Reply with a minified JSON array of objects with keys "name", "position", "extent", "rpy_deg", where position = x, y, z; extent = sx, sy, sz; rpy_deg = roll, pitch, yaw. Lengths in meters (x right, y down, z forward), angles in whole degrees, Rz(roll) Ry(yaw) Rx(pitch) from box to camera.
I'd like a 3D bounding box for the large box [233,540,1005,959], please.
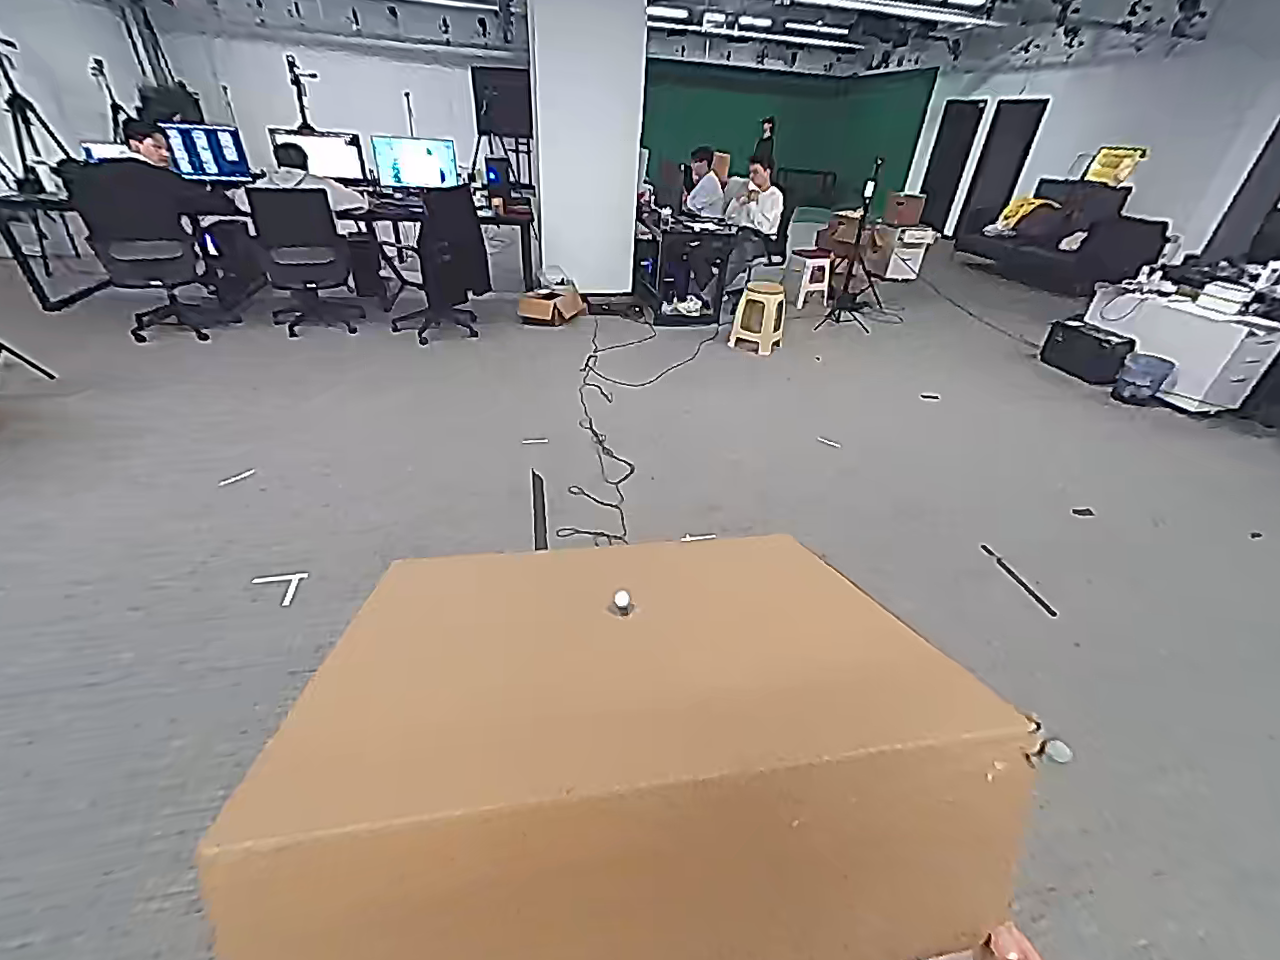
[{"name":"large box","position":[-0.011,0.257,0.450],"extent":[0.408,0.320,0.320],"rpy_deg":[-4,16,-10]}]
